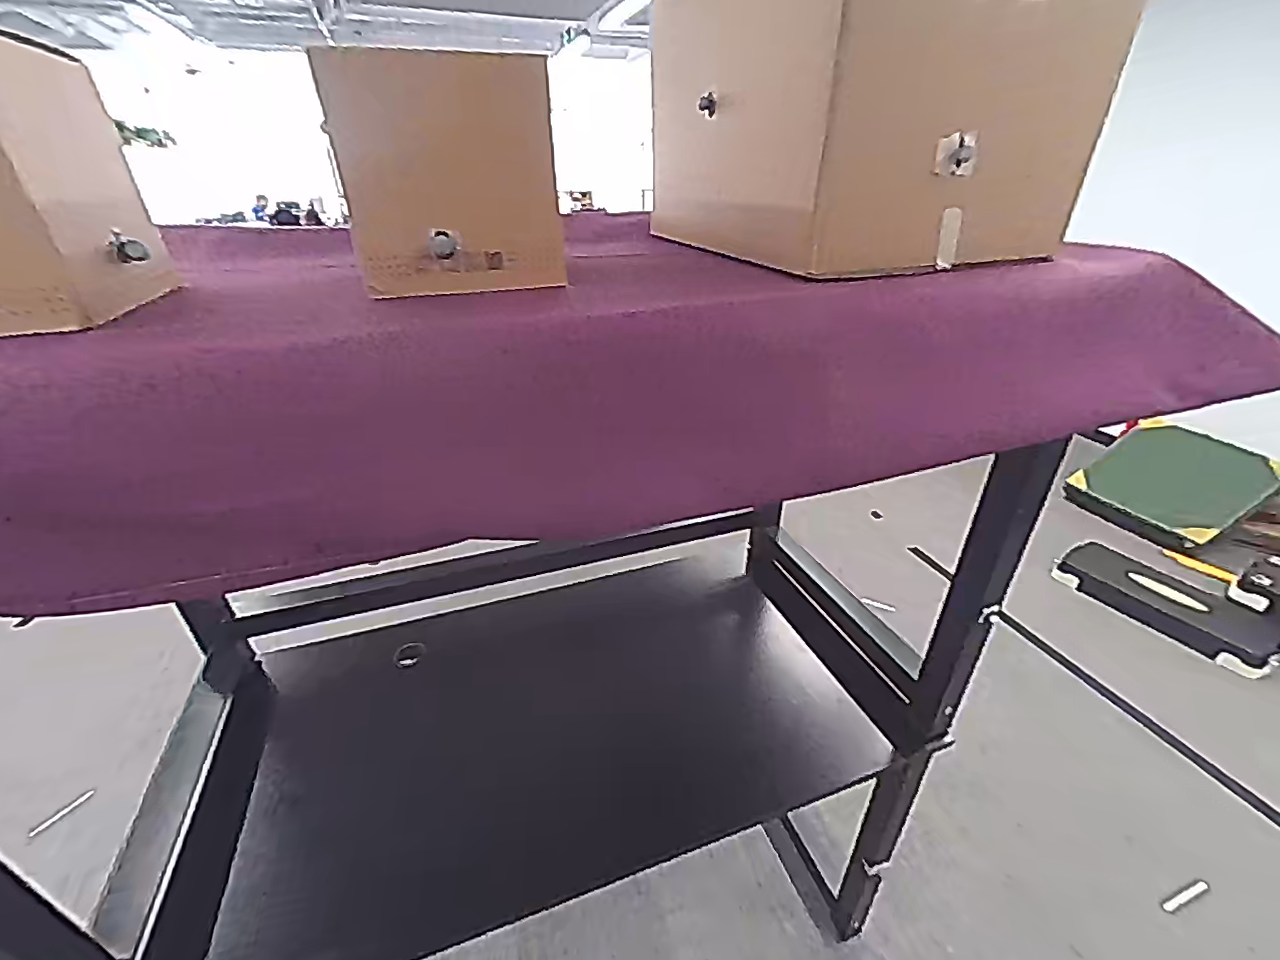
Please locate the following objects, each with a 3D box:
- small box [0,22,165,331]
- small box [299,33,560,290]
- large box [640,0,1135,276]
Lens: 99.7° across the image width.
[{"bbox_3d":[-0.466,-0.198,0.359,0.168,0.176,0.179,-12,31,-18],"label":"small box"},{"bbox_3d":[-0.172,-0.272,0.485,0.168,0.176,0.179,-11,32,-15],"label":"small box"},{"bbox_3d":[0.214,-0.422,0.597,0.320,0.320,0.408,-10,30,-17],"label":"large box"}]
